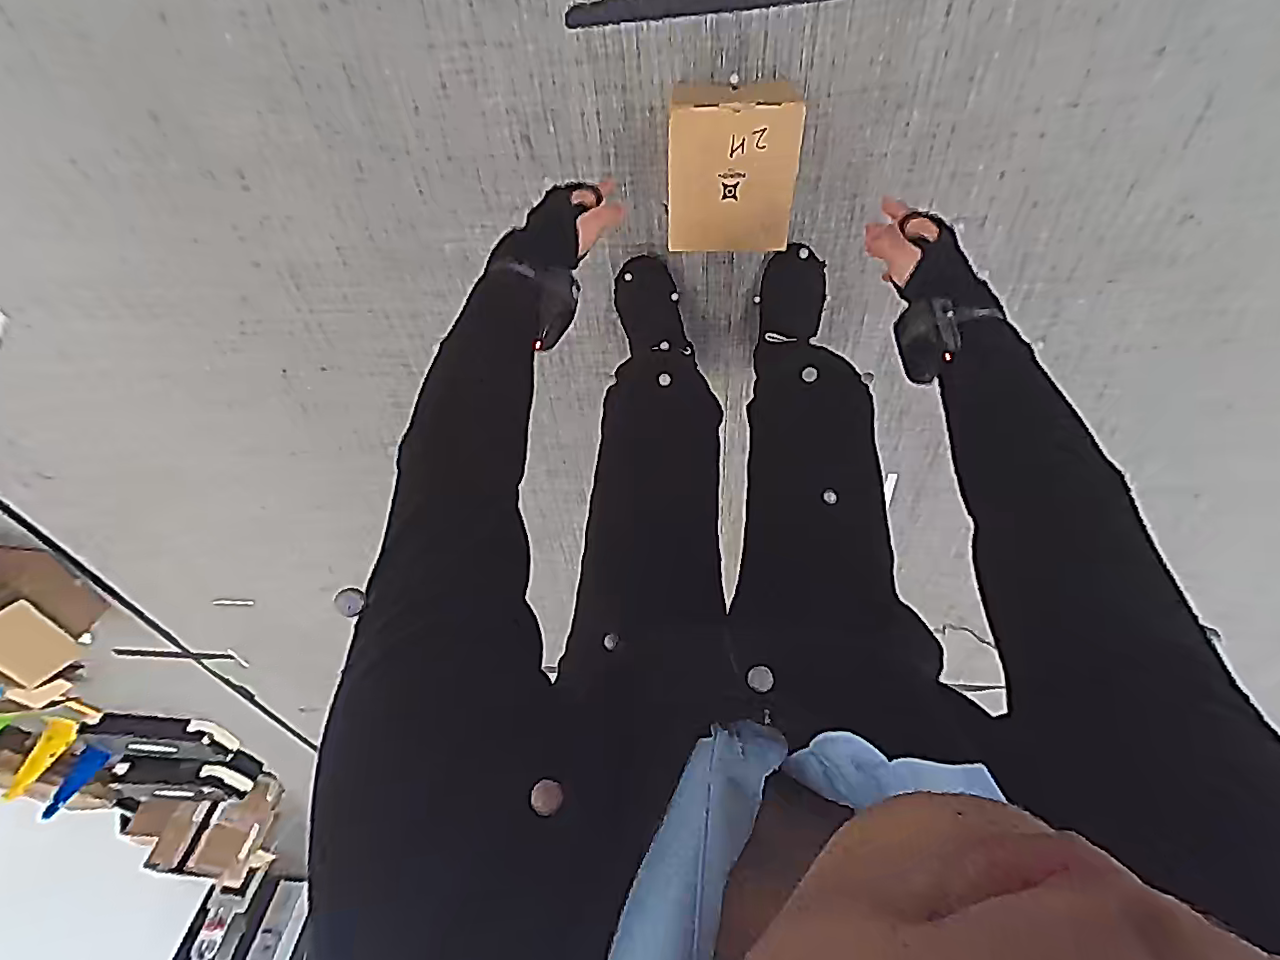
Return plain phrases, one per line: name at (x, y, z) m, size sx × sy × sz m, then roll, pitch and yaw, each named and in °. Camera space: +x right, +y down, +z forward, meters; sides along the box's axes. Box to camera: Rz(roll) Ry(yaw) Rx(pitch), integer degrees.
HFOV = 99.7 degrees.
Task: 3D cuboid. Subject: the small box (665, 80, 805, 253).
small box at (0.122, -0.437, 0.754) m, size 0.168 × 0.176 × 0.179 m, roll 1°, pitch 133°, yaw 4°
